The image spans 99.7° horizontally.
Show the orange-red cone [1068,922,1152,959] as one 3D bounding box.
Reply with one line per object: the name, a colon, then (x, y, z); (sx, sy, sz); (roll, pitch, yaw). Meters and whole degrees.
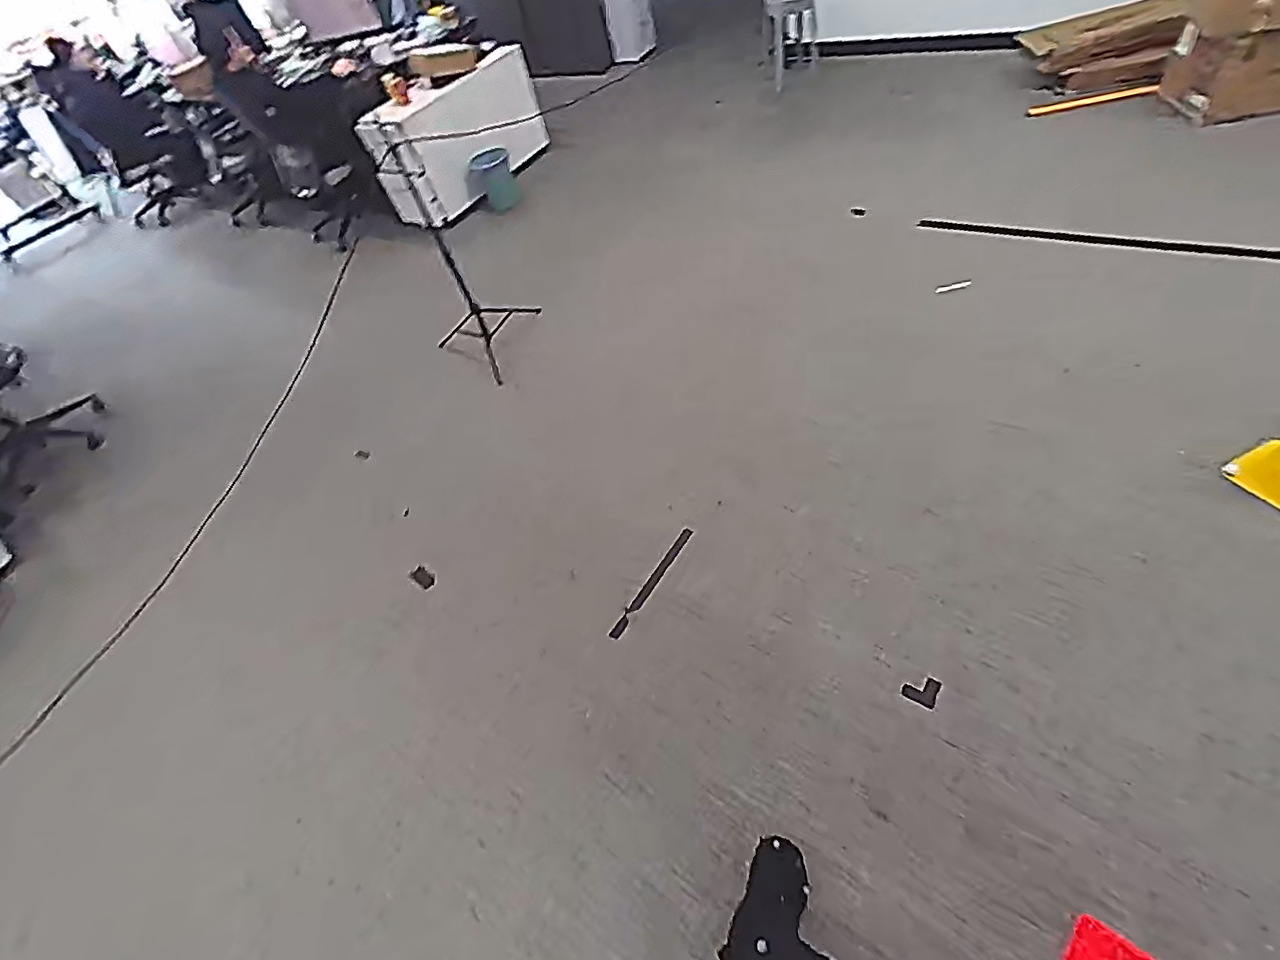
orange-red cone: (0.780, 0.783, 0.759); (0.198, 0.360, 0.199); (30, 64, 32)
